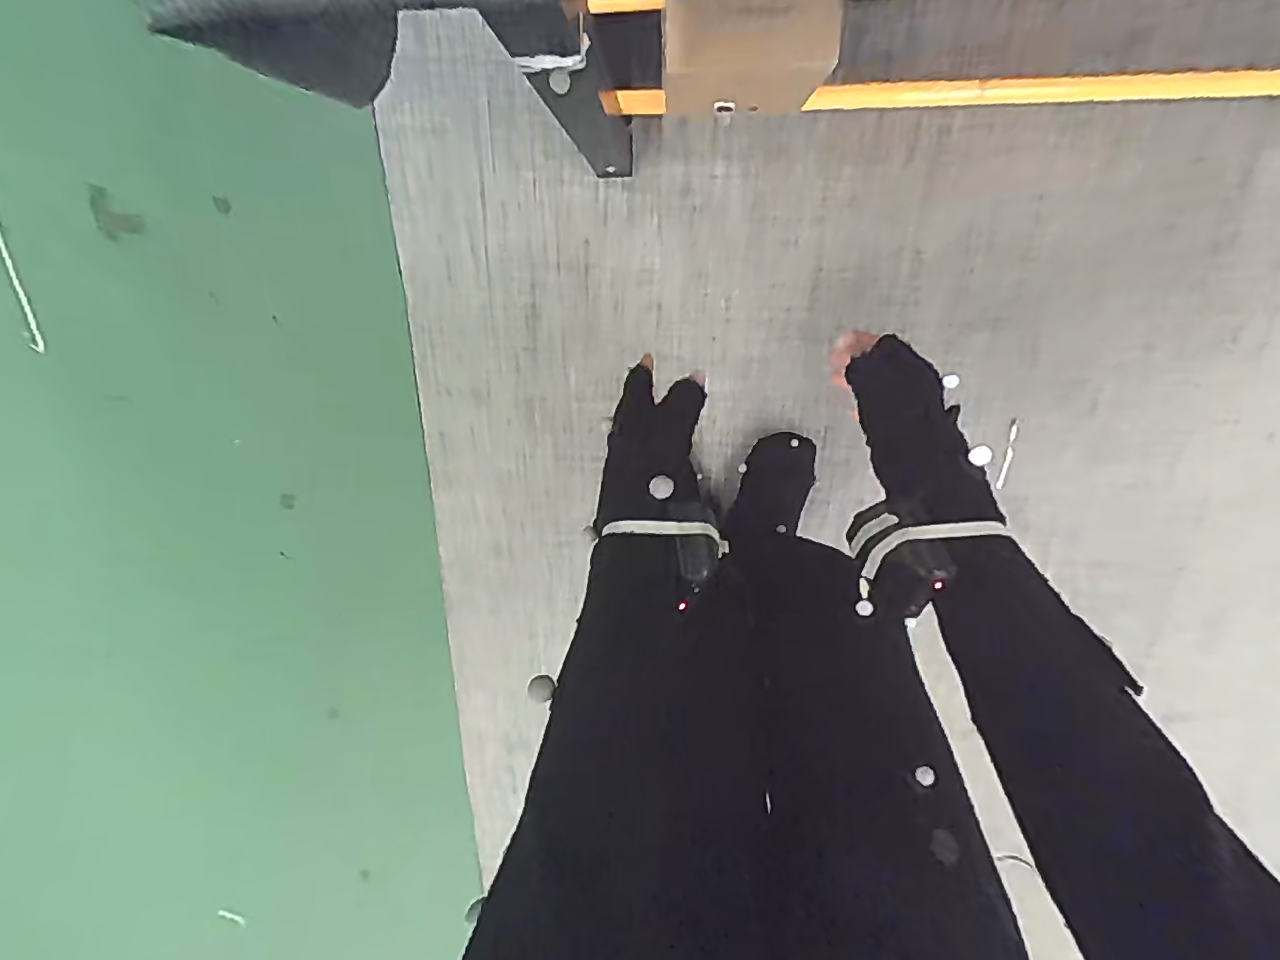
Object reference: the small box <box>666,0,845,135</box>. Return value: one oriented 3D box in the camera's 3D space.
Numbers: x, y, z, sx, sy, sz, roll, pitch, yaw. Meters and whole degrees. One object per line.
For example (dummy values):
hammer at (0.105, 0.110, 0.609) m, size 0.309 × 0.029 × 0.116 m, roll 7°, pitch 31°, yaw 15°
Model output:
small box at (0.111, -0.490, 0.573) m, size 0.168 × 0.176 × 0.179 m, roll -1°, pitch 111°, yaw 3°
